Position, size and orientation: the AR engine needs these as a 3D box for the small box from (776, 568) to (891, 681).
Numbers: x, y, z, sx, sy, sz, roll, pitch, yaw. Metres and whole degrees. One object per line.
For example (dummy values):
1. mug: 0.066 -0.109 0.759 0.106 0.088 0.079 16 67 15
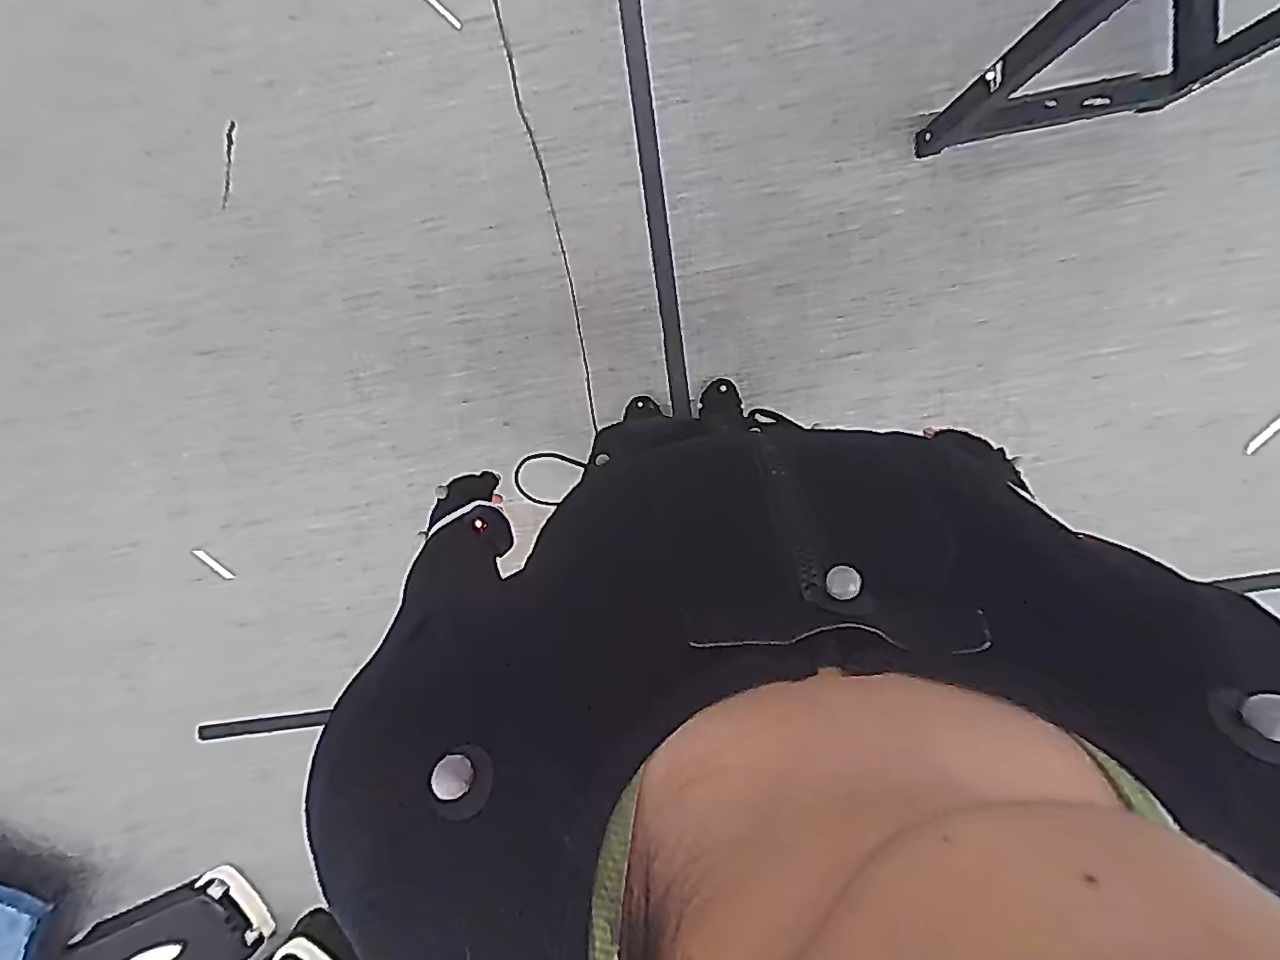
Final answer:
1. small box: 0.458 0.342 1.294 0.179 0.176 0.168 28 101 -5
